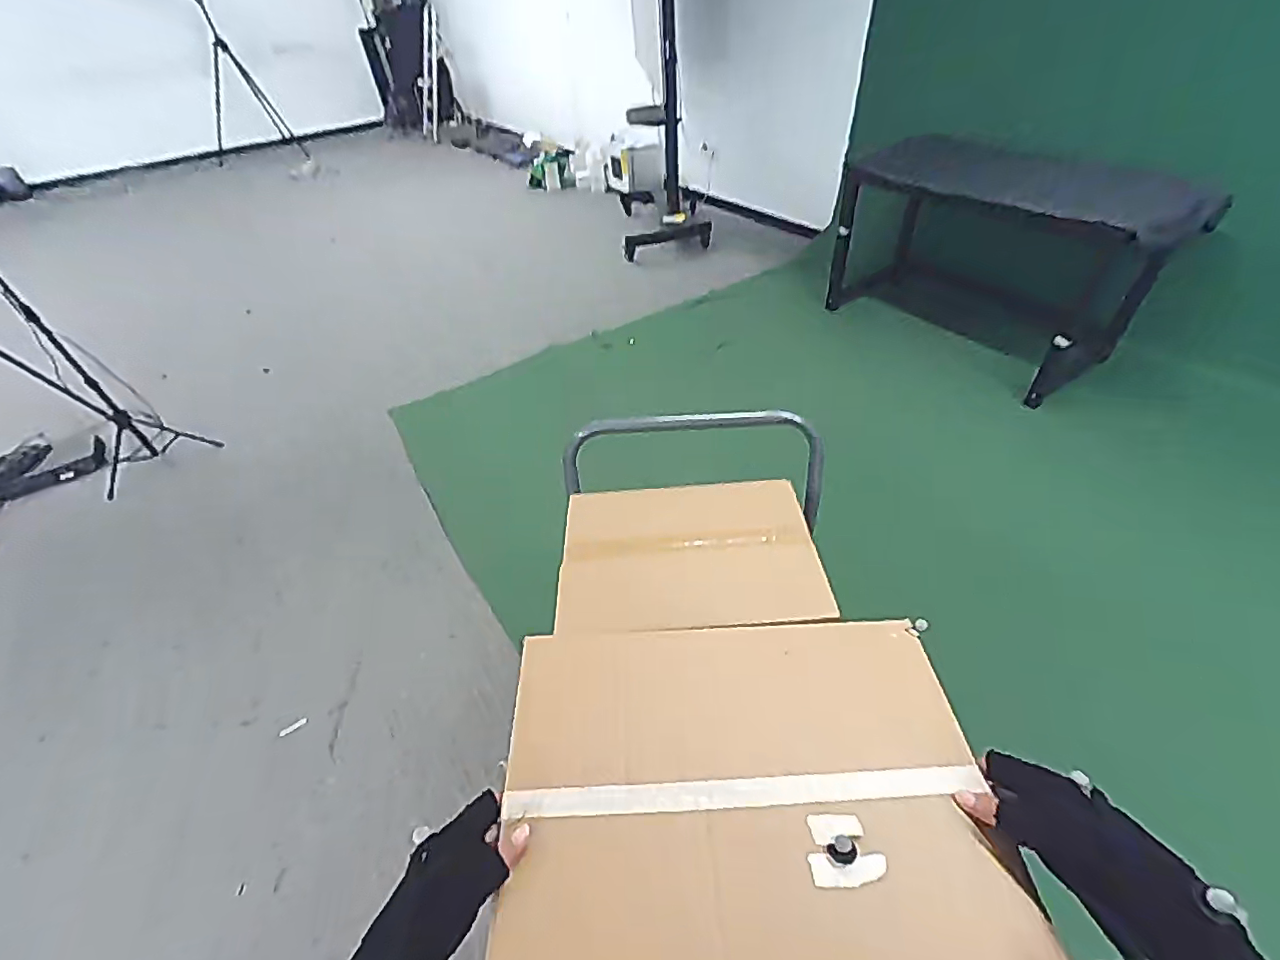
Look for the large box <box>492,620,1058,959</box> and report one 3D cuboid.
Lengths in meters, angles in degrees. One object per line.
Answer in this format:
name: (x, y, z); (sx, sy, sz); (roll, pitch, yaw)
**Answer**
large box: (0.087, 0.370, 0.560); (0.408, 0.320, 0.320); (-2, 44, -2)
